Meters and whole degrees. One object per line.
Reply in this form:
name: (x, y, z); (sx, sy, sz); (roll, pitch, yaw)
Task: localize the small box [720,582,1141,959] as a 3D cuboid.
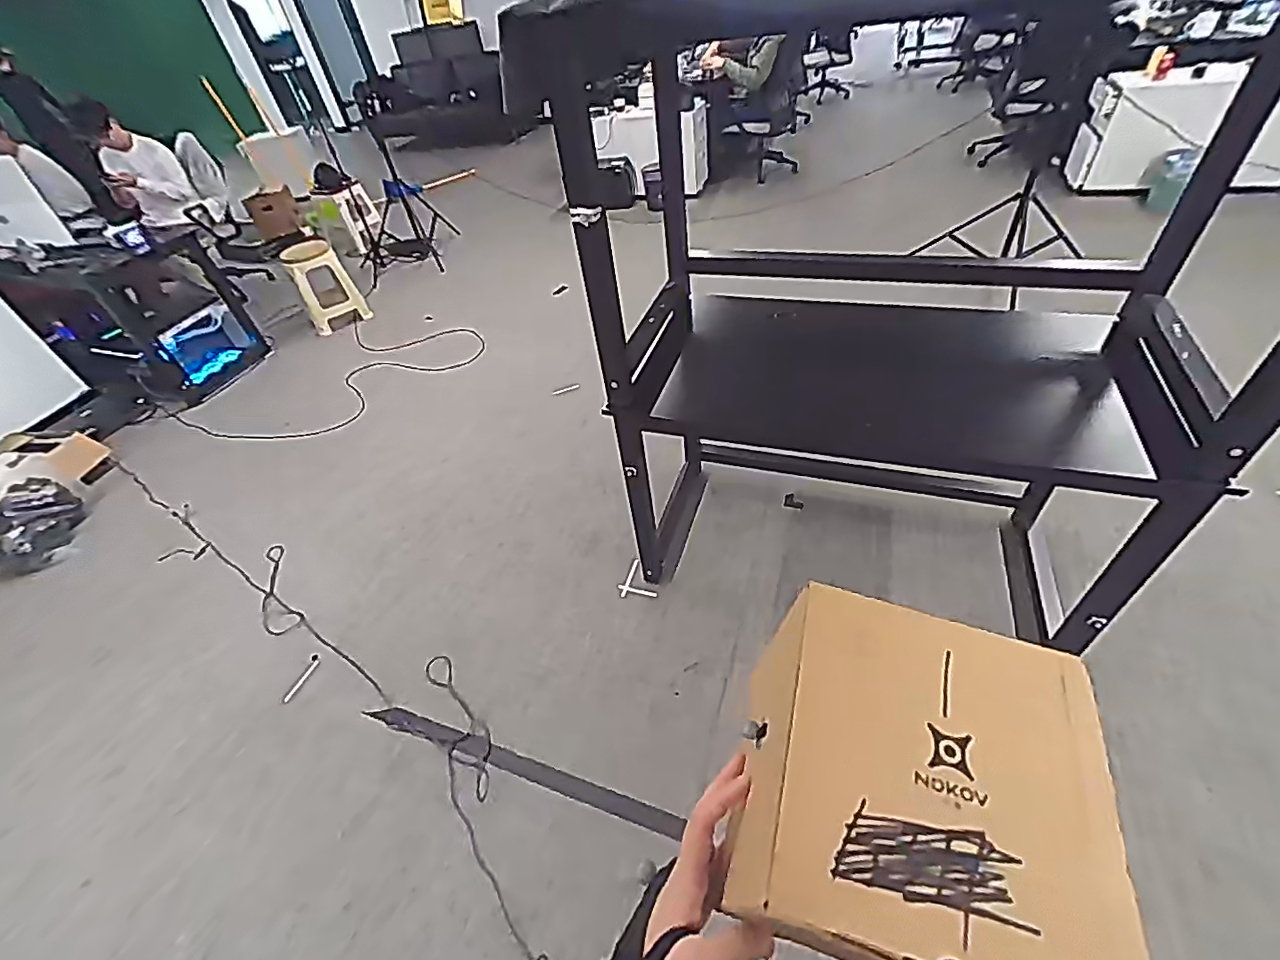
small box: (0.154, 0.199, 0.343); (0.168, 0.176, 0.179); (16, 52, 9)
